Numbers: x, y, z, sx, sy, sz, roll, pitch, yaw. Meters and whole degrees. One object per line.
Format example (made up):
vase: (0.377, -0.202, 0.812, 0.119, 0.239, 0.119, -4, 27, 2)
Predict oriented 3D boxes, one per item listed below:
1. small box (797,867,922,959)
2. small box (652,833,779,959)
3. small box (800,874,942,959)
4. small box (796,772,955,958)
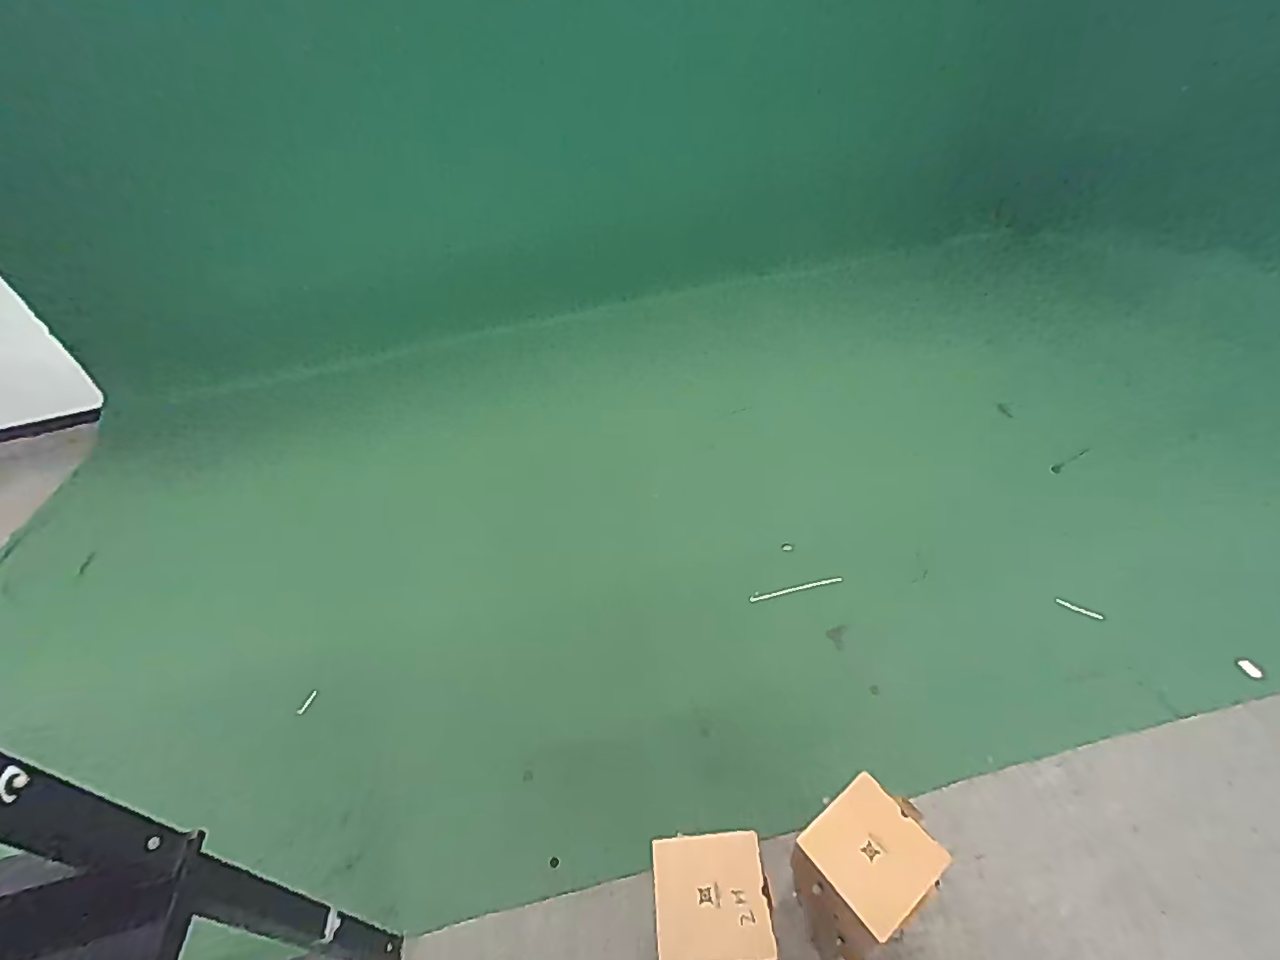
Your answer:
small box: (0.440, 0.867, 1.116, 0.179, 0.176, 0.168, -17, 43, -9)
small box: (0.120, 0.695, 0.872, 0.179, 0.176, 0.168, -7, 42, 4)
small box: (0.413, 0.756, 1.000, 0.179, 0.176, 0.168, -26, 46, -19)
small box: (0.376, 0.637, 0.893, 0.179, 0.176, 0.168, -30, 46, -22)
